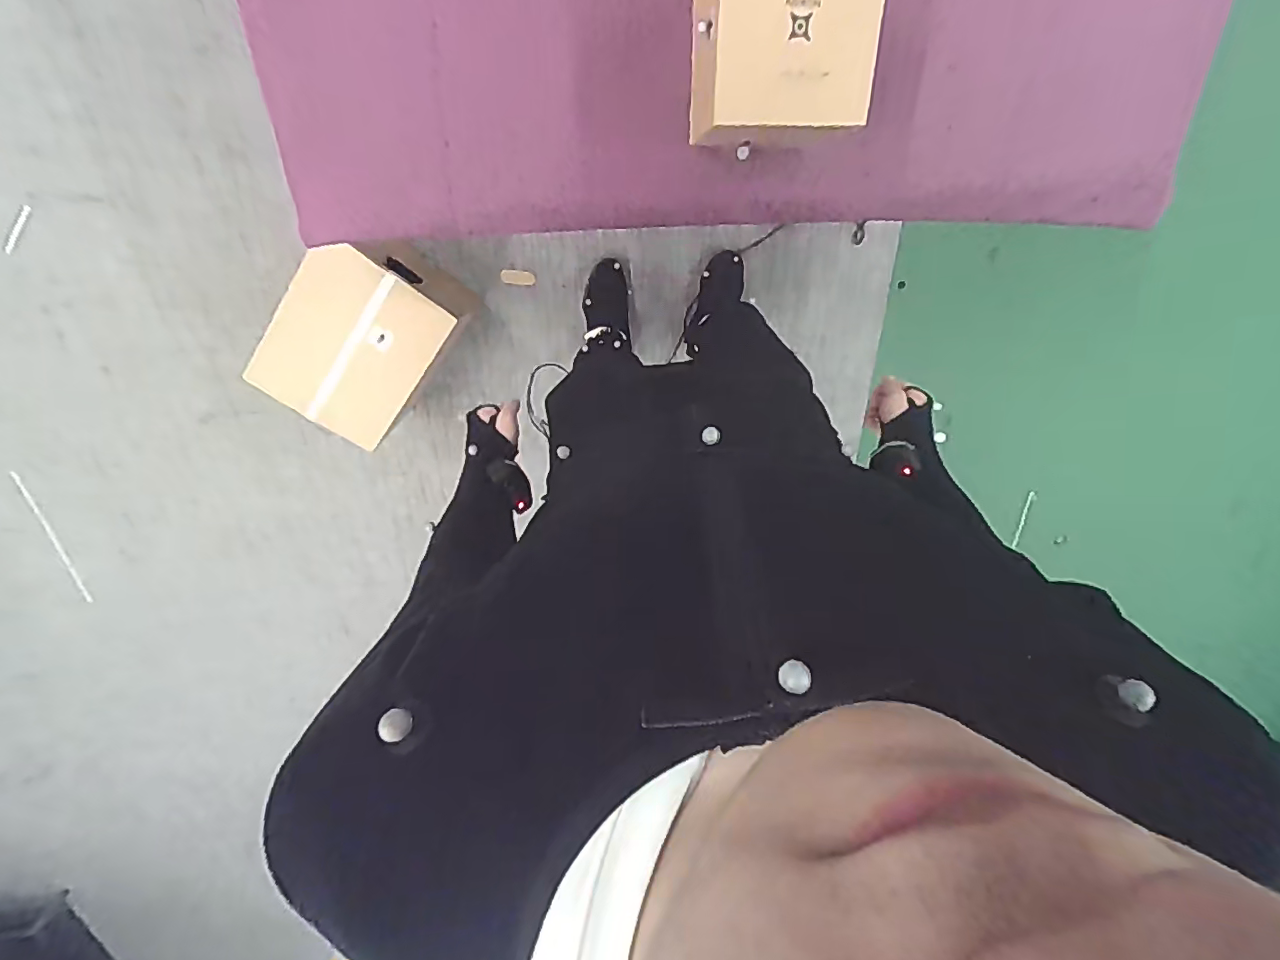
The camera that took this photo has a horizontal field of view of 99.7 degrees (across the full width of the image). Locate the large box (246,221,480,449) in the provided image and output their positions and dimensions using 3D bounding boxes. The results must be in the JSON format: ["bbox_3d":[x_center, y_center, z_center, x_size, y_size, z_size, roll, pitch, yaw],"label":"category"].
[{"bbox_3d":[-0.651,-0.357,1.324,0.320,0.320,0.408,34,107,-20],"label":"large box"}]

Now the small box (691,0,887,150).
[{"bbox_3d":[0.151,-0.478,0.595,0.168,0.176,0.179,-1,116,-3],"label":"small box"}]
